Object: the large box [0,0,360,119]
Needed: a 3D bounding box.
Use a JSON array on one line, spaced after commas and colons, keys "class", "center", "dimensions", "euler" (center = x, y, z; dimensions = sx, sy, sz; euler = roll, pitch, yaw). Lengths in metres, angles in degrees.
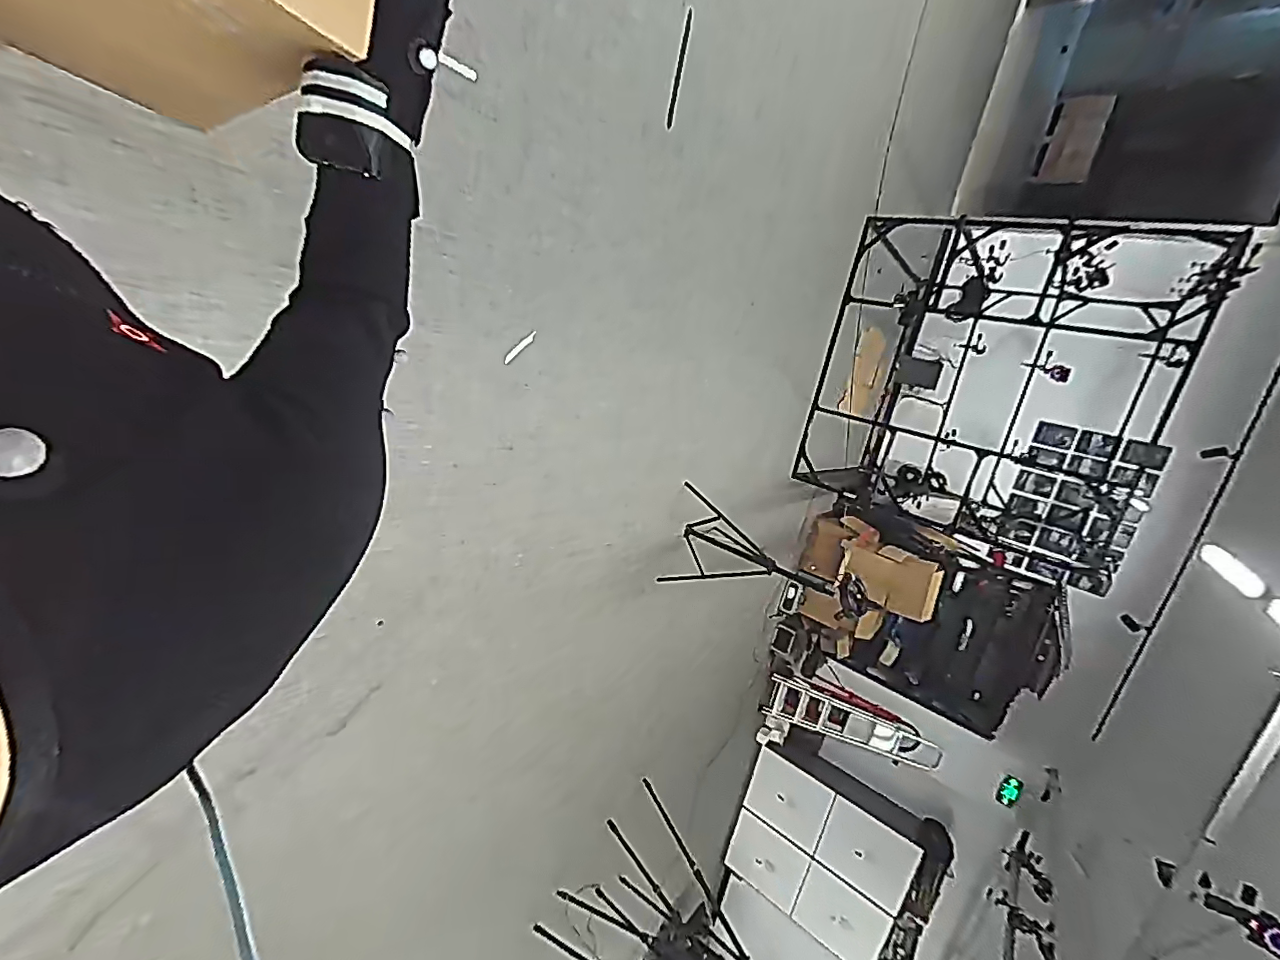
[{"class": "large box", "center": [-0.413, -0.483, 0.287], "dimensions": [0.408, 0.320, 0.320], "euler": [2, 100, -56]}]
